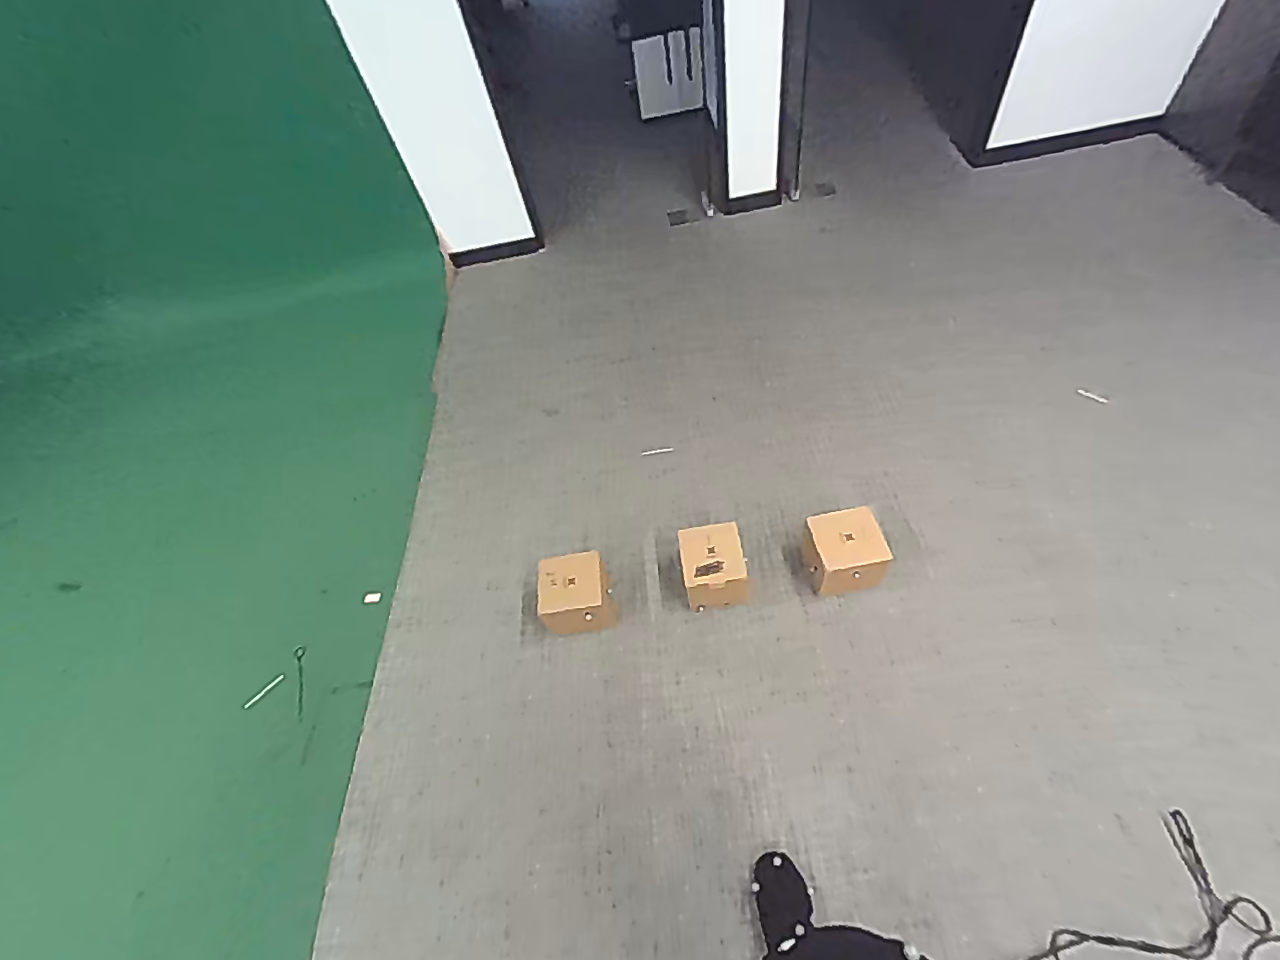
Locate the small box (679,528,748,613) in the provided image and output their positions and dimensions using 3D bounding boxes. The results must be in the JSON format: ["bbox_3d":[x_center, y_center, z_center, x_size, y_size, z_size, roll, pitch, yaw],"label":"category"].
[{"bbox_3d":[0.207,0.259,1.511,0.168,0.176,0.179,-9,52,5],"label":"small box"}]

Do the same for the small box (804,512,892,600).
[{"bbox_3d":[0.556,0.213,1.474,0.179,0.176,0.168,-11,54,3],"label":"small box"}]

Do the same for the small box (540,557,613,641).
[{"bbox_3d":[-0.174,0.340,1.529,0.179,0.176,0.168,-10,52,4],"label":"small box"}]
